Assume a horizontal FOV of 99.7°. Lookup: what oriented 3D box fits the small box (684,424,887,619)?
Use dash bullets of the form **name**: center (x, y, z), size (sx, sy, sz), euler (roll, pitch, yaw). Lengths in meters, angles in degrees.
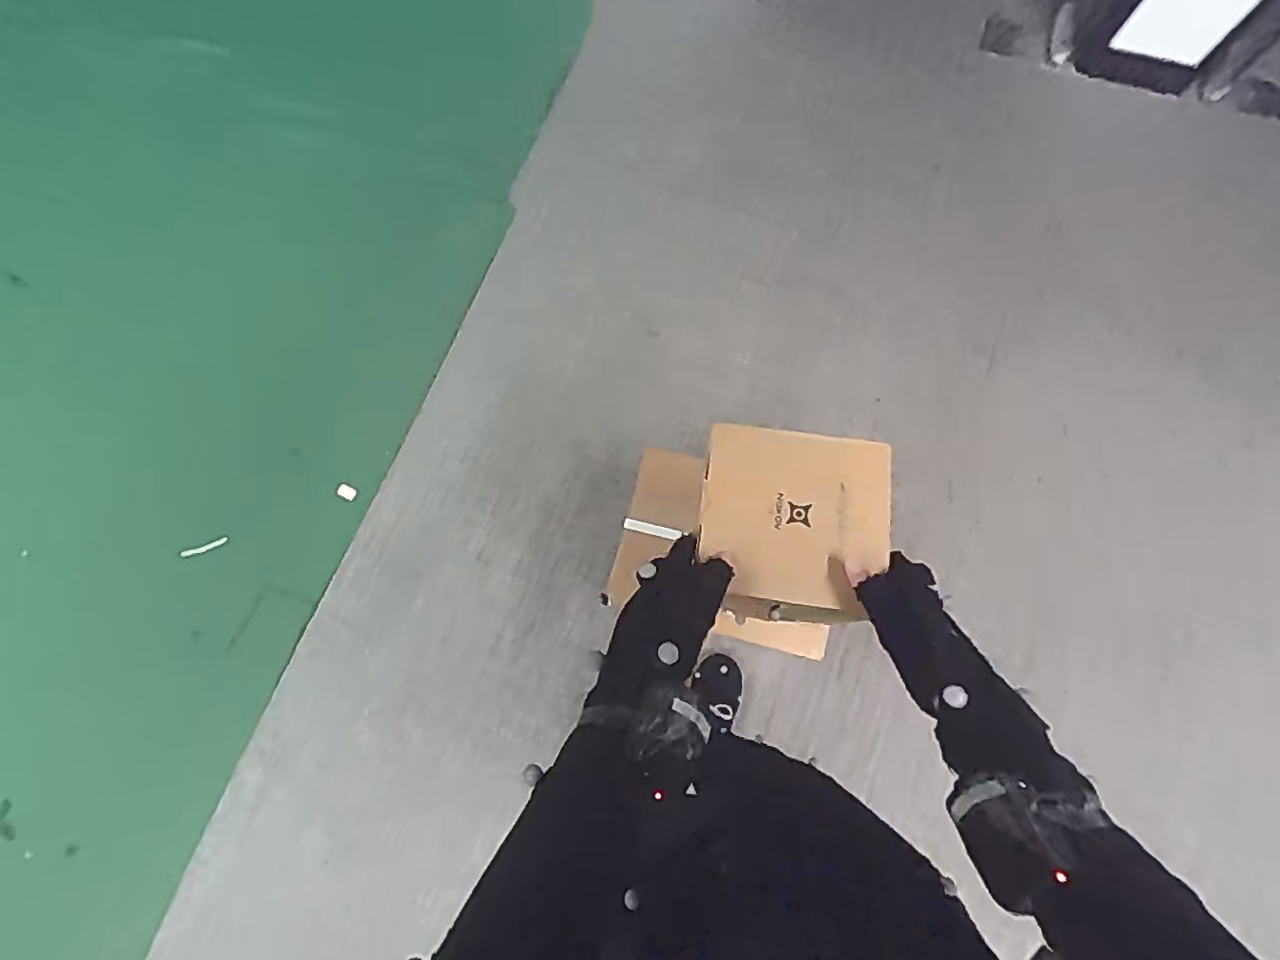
- **small box**: center (0.142, 0.054, 0.576), size (0.179, 0.176, 0.168), euler (6, 74, 3)
